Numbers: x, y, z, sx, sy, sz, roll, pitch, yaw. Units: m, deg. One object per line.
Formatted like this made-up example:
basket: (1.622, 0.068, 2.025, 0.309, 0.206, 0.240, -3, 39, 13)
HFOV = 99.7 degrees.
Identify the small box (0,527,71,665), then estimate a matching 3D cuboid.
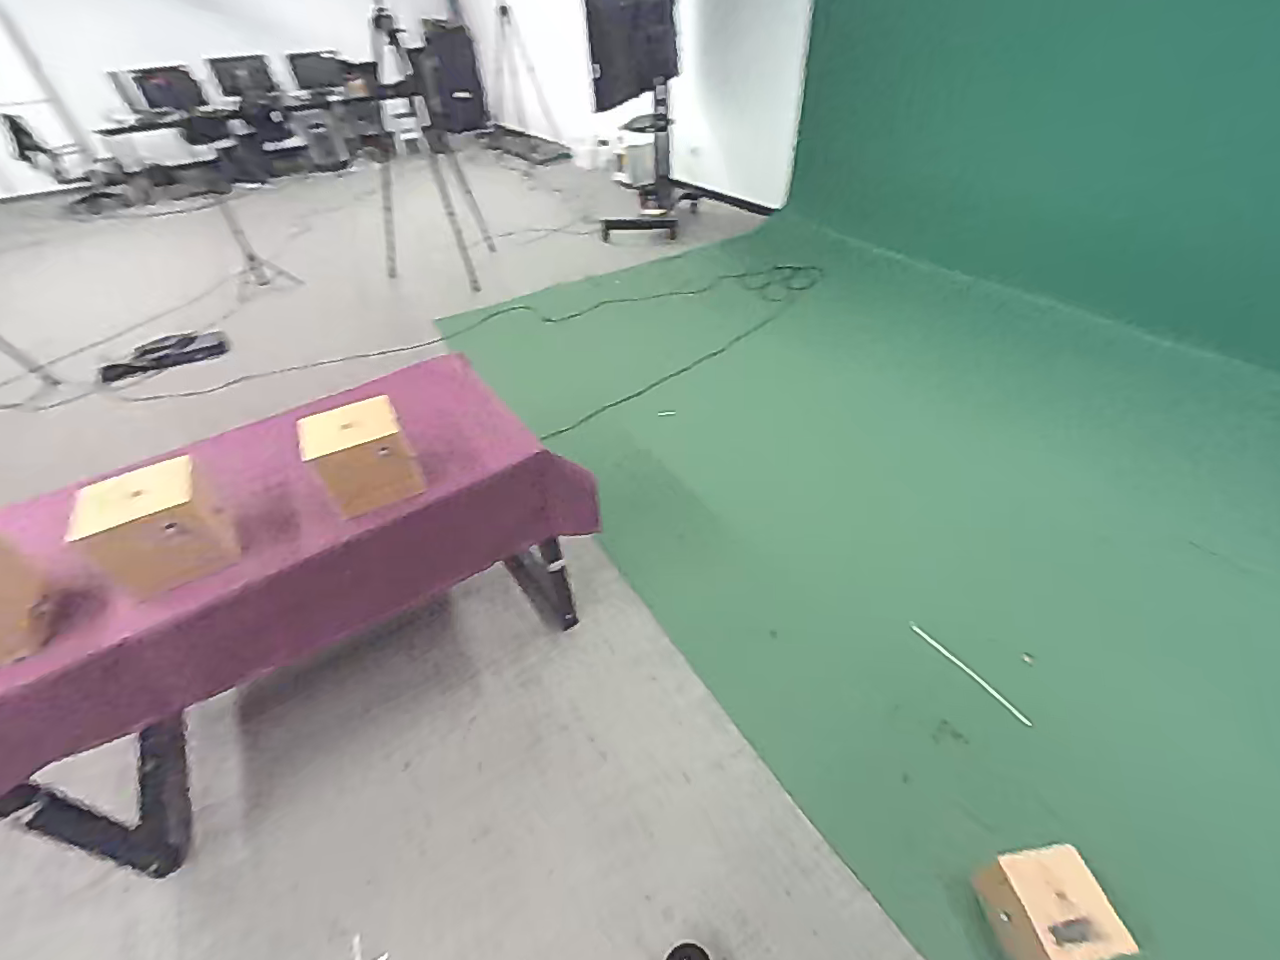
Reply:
small box: (-1.140, 0.215, 0.908, 0.179, 0.176, 0.168, -21, 45, -19)

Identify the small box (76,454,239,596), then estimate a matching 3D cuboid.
small box: (-0.898, 0.086, 1.030, 0.179, 0.176, 0.168, -25, 45, -21)

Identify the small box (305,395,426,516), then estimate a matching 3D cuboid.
small box: (-0.584, -0.051, 1.158, 0.179, 0.176, 0.168, -22, 44, -19)
